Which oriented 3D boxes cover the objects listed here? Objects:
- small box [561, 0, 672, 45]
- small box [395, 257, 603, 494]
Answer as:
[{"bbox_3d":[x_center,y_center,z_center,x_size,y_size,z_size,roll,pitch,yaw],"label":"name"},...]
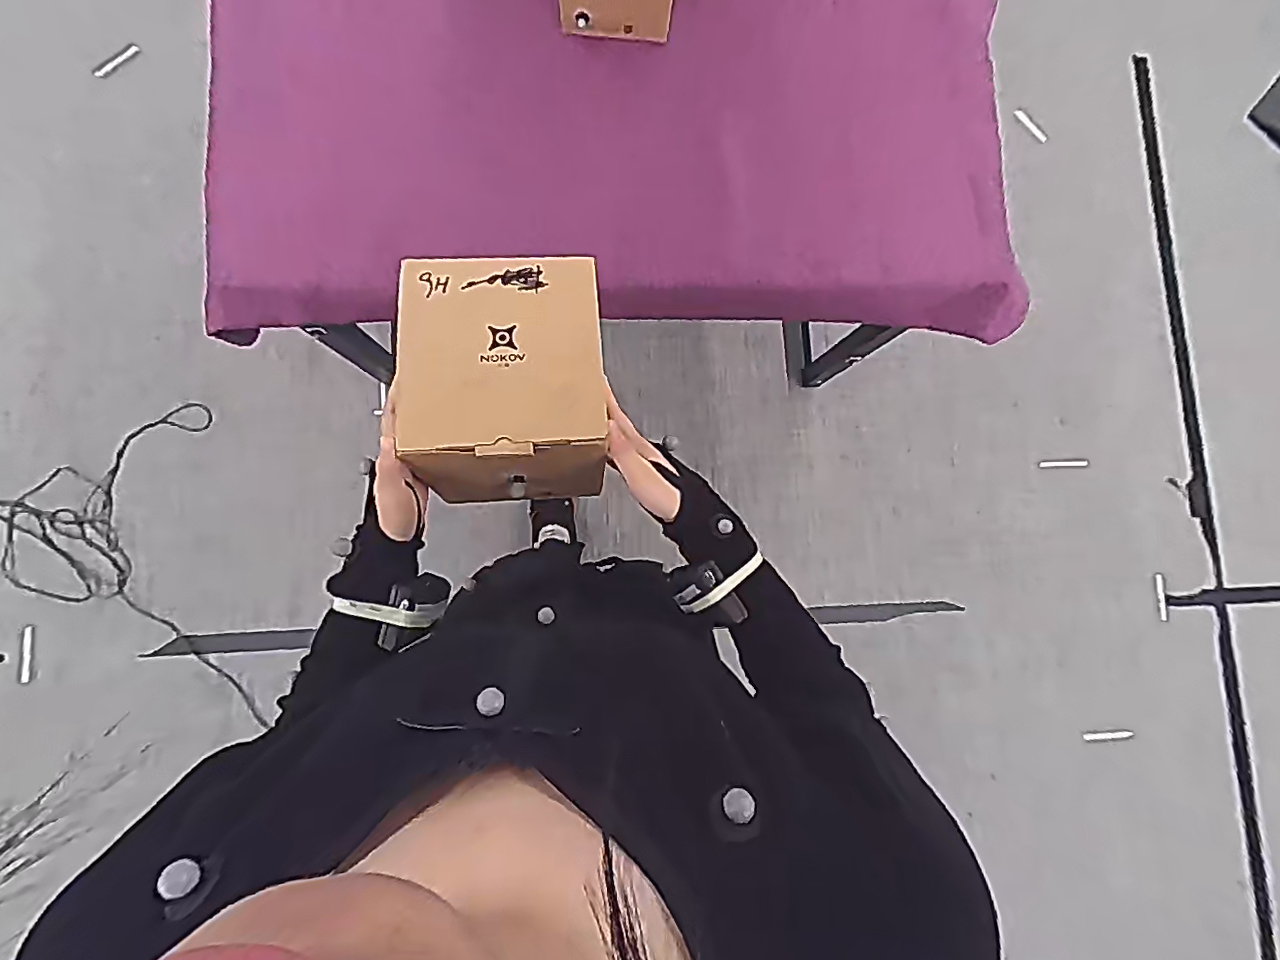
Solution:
[{"bbox_3d":[-0.030,-0.778,0.777,0.168,0.176,0.179,2,85,-5],"label":"small box"},{"bbox_3d":[-0.121,-0.086,0.522,0.168,0.176,0.179,-4,75,-6],"label":"small box"}]
